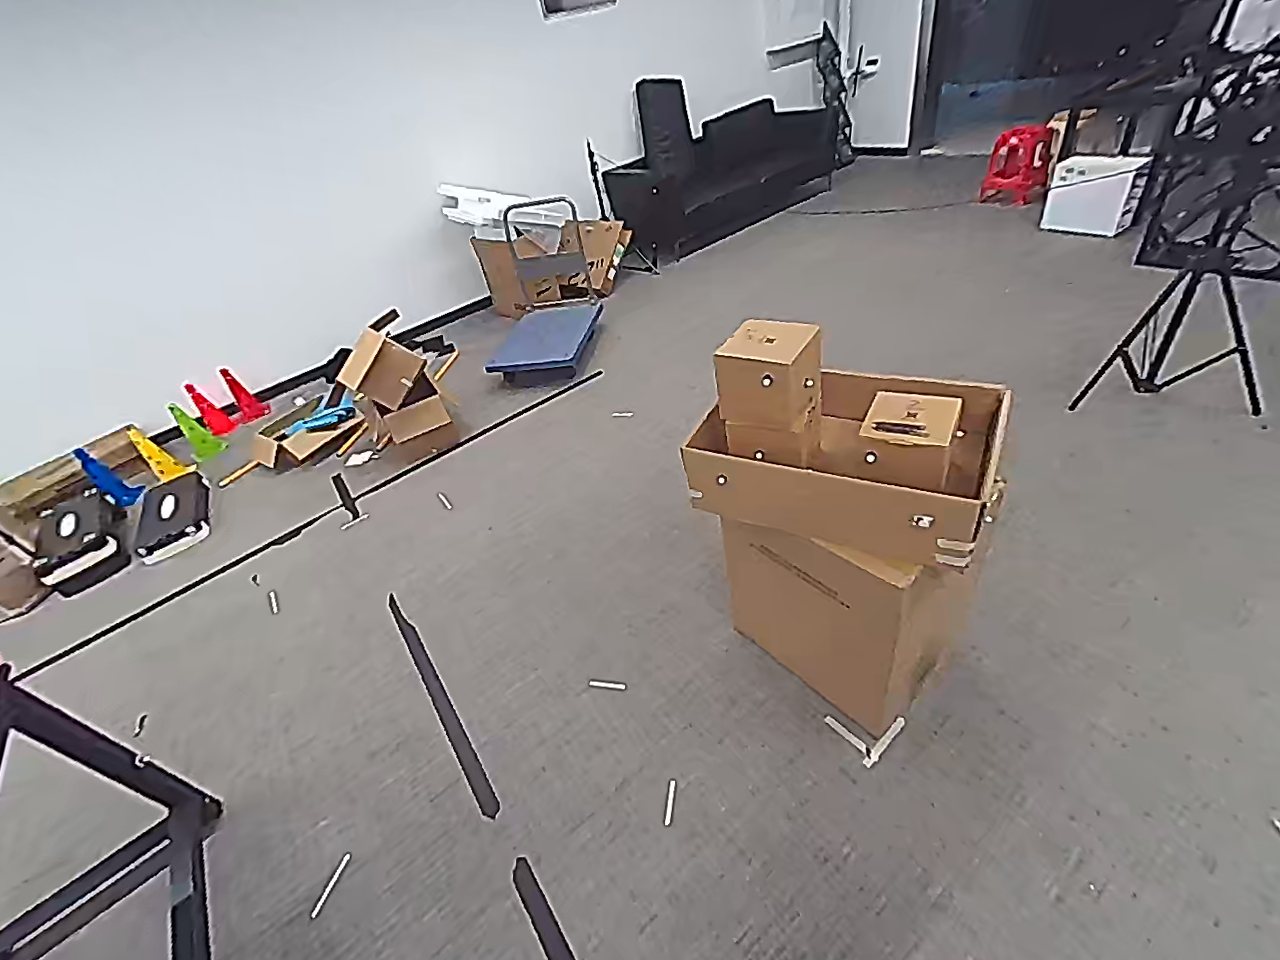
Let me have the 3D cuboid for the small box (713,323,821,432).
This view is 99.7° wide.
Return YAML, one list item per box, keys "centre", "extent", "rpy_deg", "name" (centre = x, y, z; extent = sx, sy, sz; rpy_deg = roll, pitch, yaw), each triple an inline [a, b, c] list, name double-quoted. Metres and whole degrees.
- centre: [0.286, -0.226, 1.194]
  extent: [0.179, 0.176, 0.168]
  rpy_deg: [17, 48, 34]
  name: "small box"
